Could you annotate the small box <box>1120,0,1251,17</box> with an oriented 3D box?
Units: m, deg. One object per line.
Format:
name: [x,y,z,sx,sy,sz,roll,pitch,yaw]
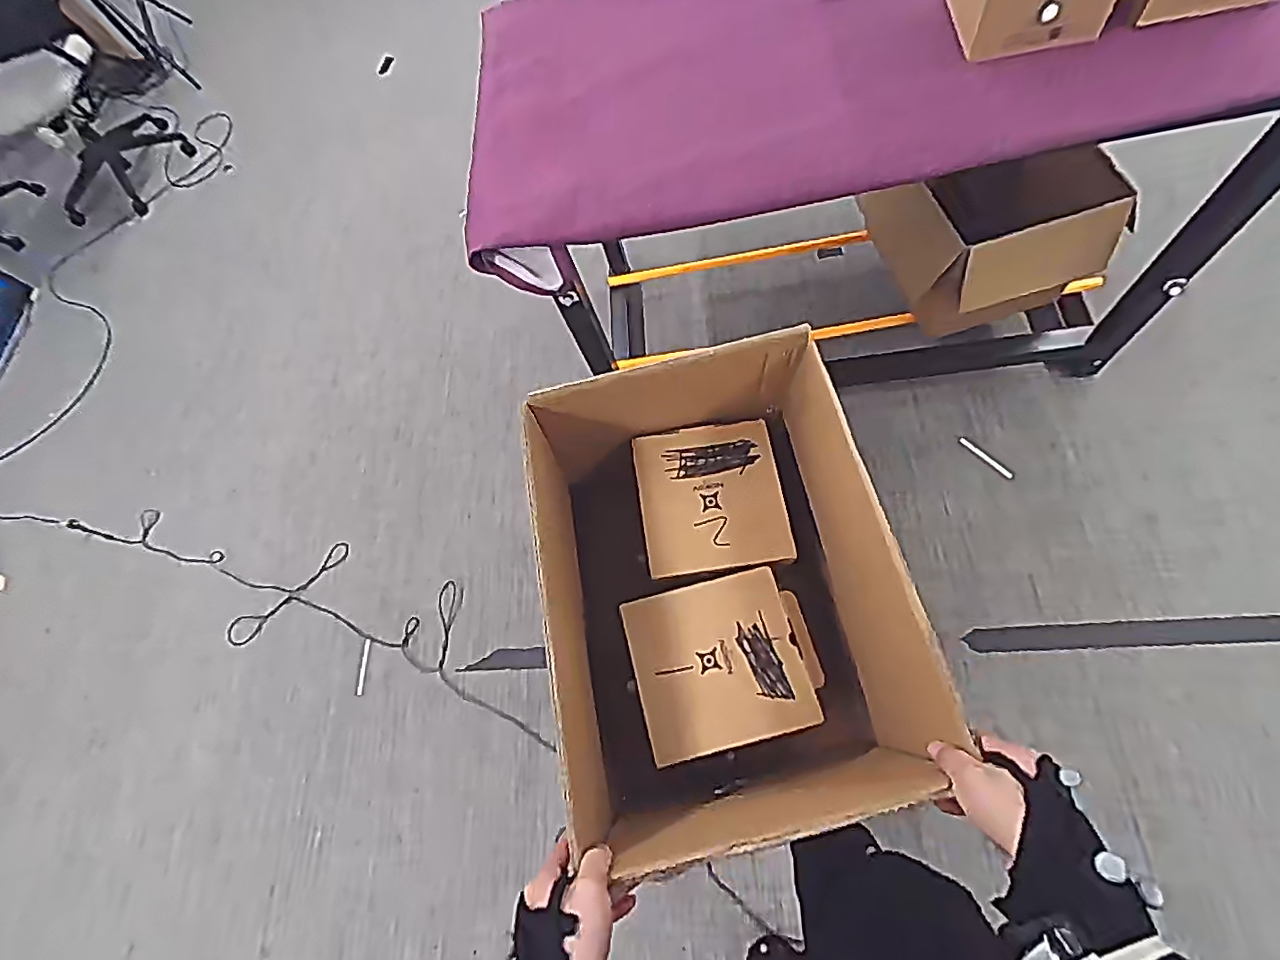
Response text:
small box: [0.735,-0.740,0.683,0.168,0.176,0.179,-3,67,12]

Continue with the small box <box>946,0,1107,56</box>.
small box: [0.529,-0.717,0.720,0.168,0.176,0.179,-3,67,12]
